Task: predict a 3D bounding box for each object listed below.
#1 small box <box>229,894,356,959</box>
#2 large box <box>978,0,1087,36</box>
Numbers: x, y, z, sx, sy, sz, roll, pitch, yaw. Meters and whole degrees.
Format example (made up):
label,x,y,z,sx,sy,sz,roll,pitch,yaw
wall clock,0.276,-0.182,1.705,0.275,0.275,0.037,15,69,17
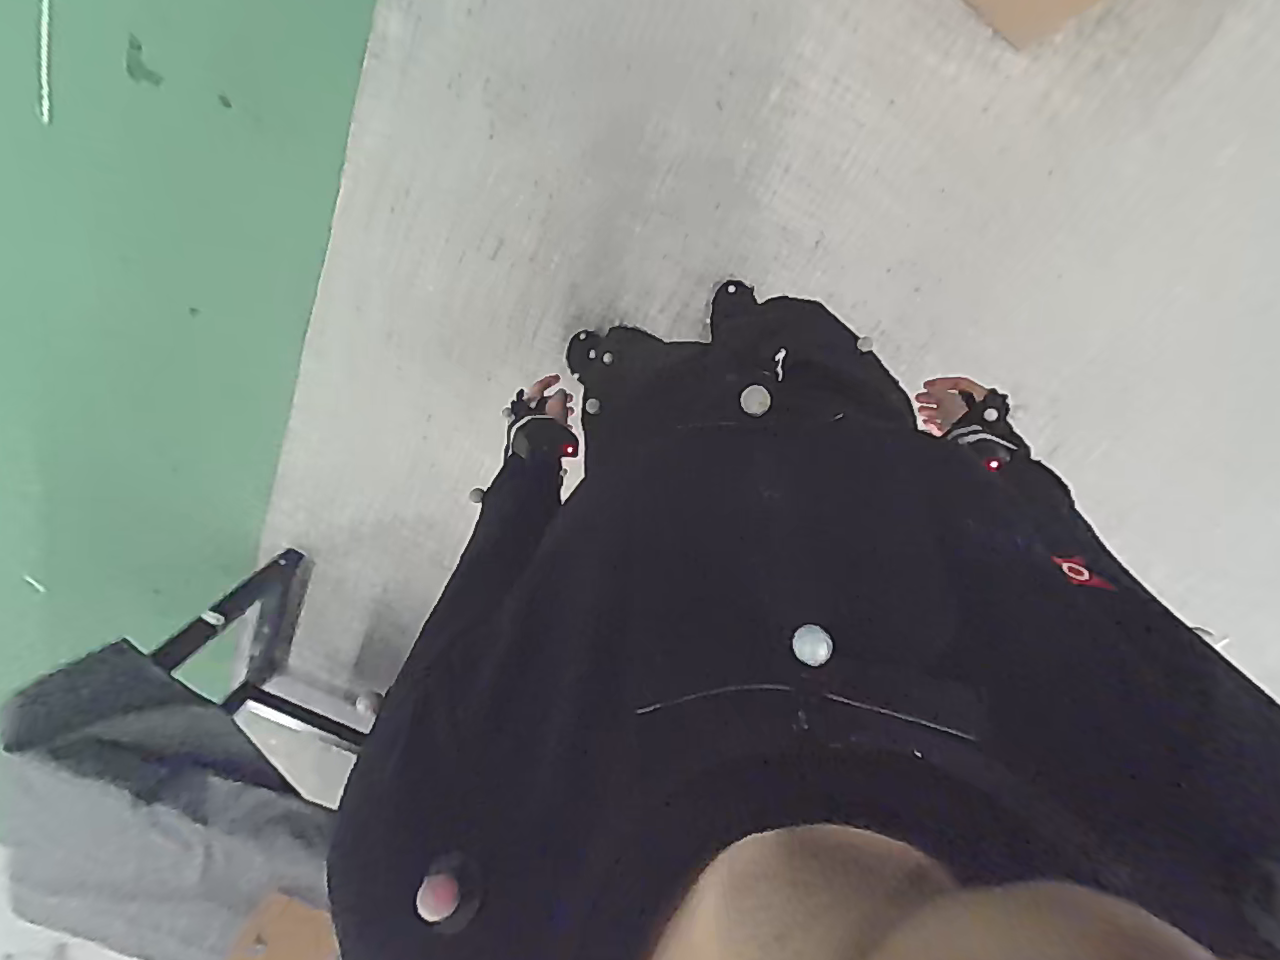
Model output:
label,x,y,z,sx,sy,sz,roll,pitch,yaw
small box,-0.685,0.936,1.032,0.179,0.176,0.168,25,116,-6
large box,0.605,-0.963,0.770,0.408,0.320,0.320,32,114,-9
